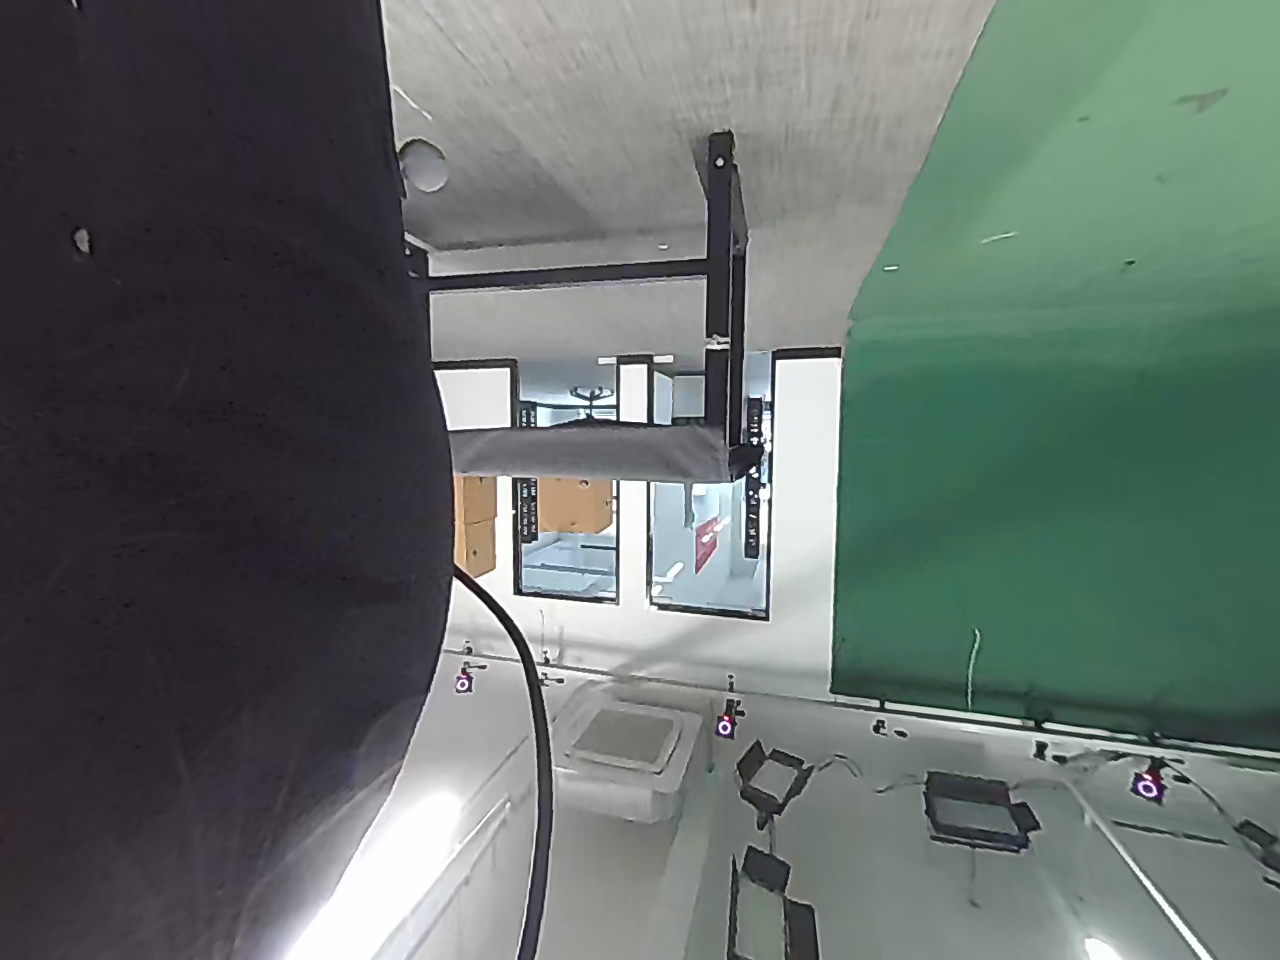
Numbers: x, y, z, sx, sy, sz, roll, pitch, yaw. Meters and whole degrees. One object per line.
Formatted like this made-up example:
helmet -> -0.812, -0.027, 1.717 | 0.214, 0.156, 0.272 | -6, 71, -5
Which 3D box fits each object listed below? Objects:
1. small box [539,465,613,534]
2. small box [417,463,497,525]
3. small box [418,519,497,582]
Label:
small box -> -0.175, 0.048, 1.495 | 0.168, 0.176, 0.179 | 1, -174, 12
small box -> -0.543, 0.038, 1.610 | 0.168, 0.176, 0.179 | 2, -175, 17
small box -> -0.548, 0.200, 1.625 | 0.168, 0.176, 0.179 | 2, -174, 14
